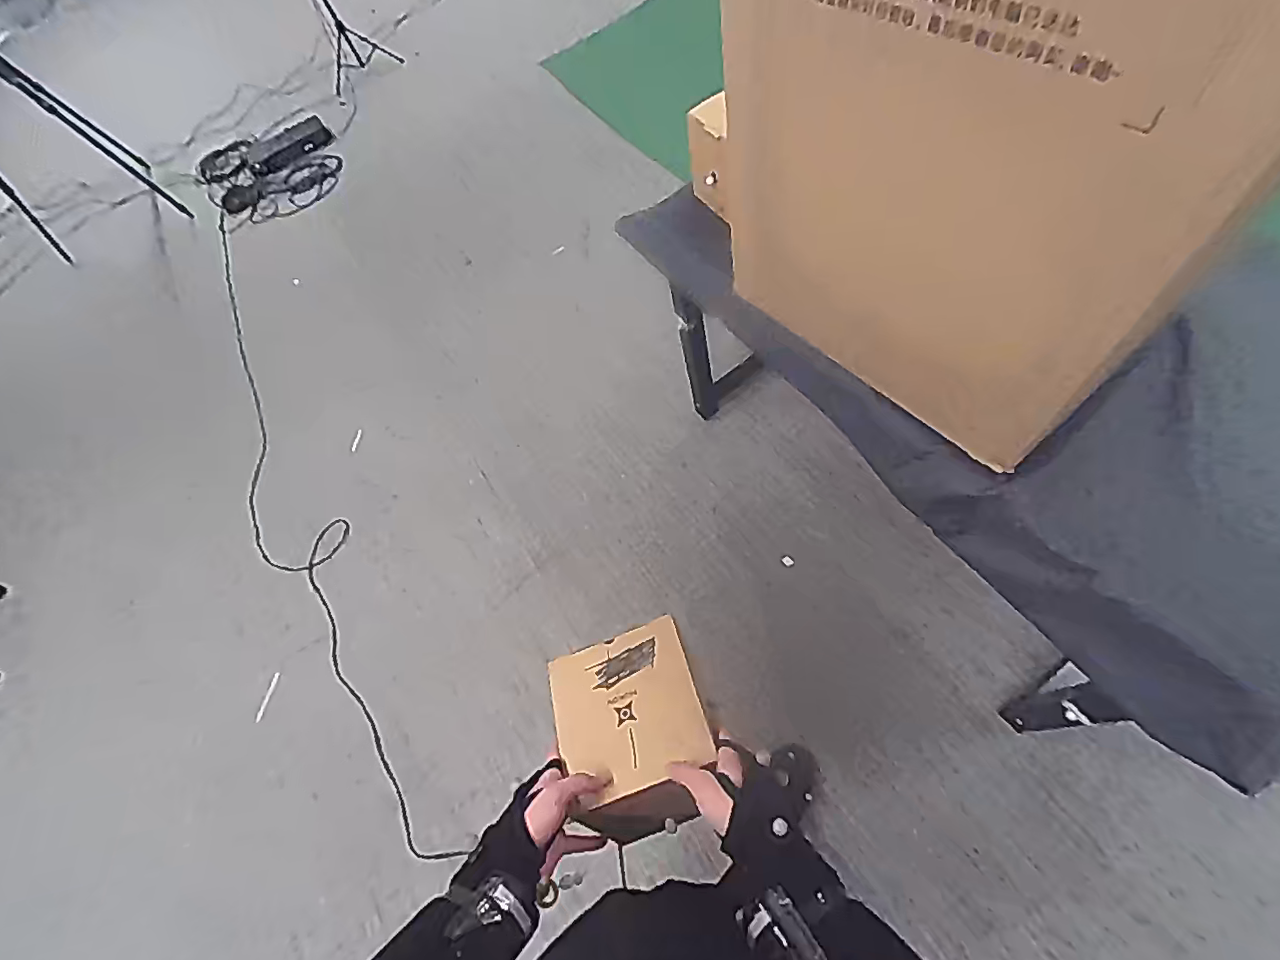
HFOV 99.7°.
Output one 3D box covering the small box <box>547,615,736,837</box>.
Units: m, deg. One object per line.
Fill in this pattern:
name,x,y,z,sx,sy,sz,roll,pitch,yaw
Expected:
small box,0.002,0.304,0.665,0.168,0.176,0.179,-24,45,4
